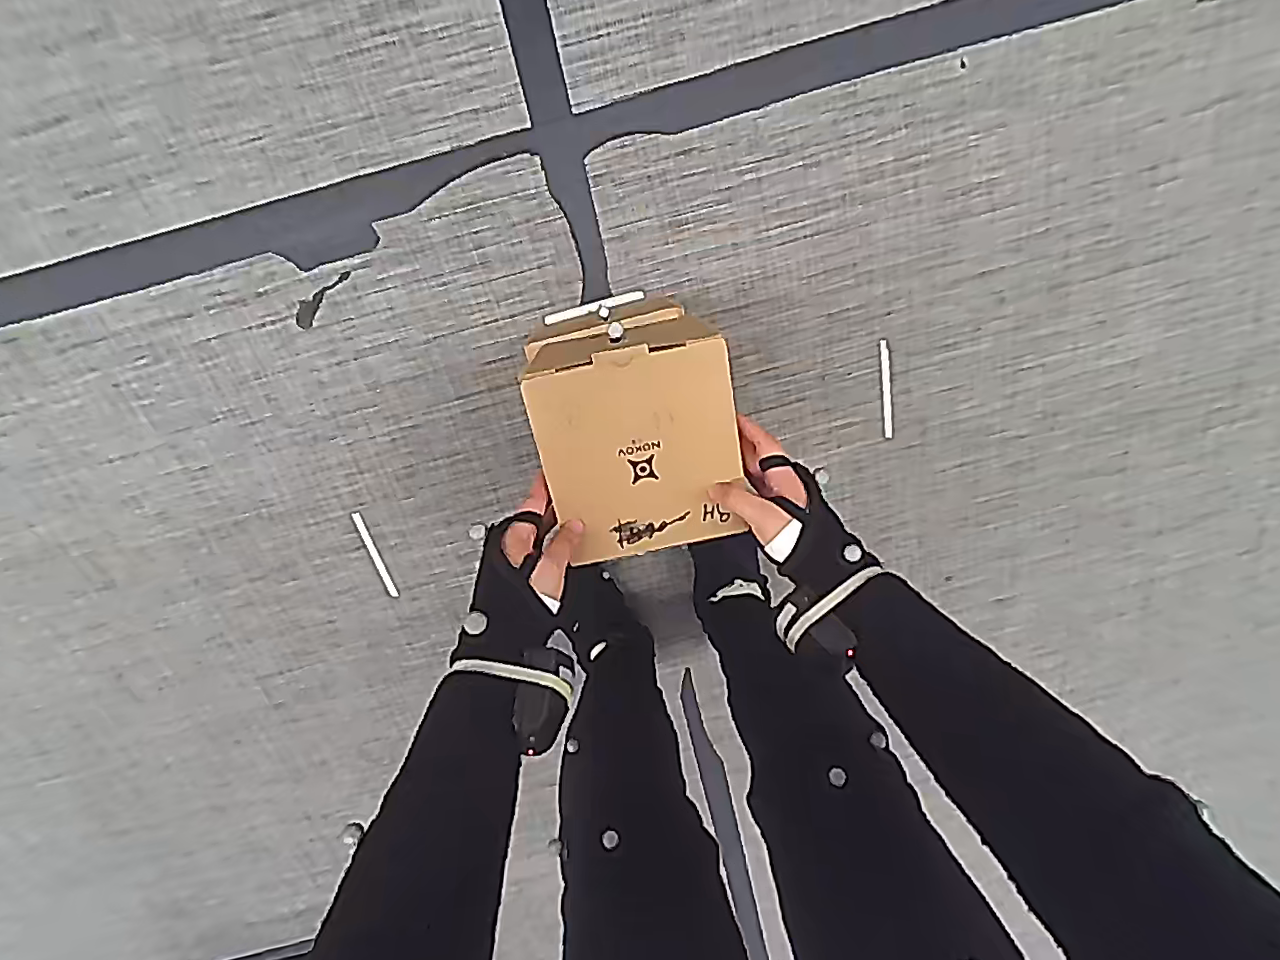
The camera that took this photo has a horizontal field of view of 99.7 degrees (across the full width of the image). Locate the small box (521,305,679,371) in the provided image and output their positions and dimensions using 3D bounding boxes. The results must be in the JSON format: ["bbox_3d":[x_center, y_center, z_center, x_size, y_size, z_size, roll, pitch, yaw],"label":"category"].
[{"bbox_3d":[-0.035,-0.116,0.681,0.179,0.176,0.168,-15,111,1],"label":"small box"}]

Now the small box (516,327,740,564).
[{"bbox_3d":[-0.010,-0.047,0.530,0.168,0.176,0.179,-12,111,1],"label":"small box"}]
